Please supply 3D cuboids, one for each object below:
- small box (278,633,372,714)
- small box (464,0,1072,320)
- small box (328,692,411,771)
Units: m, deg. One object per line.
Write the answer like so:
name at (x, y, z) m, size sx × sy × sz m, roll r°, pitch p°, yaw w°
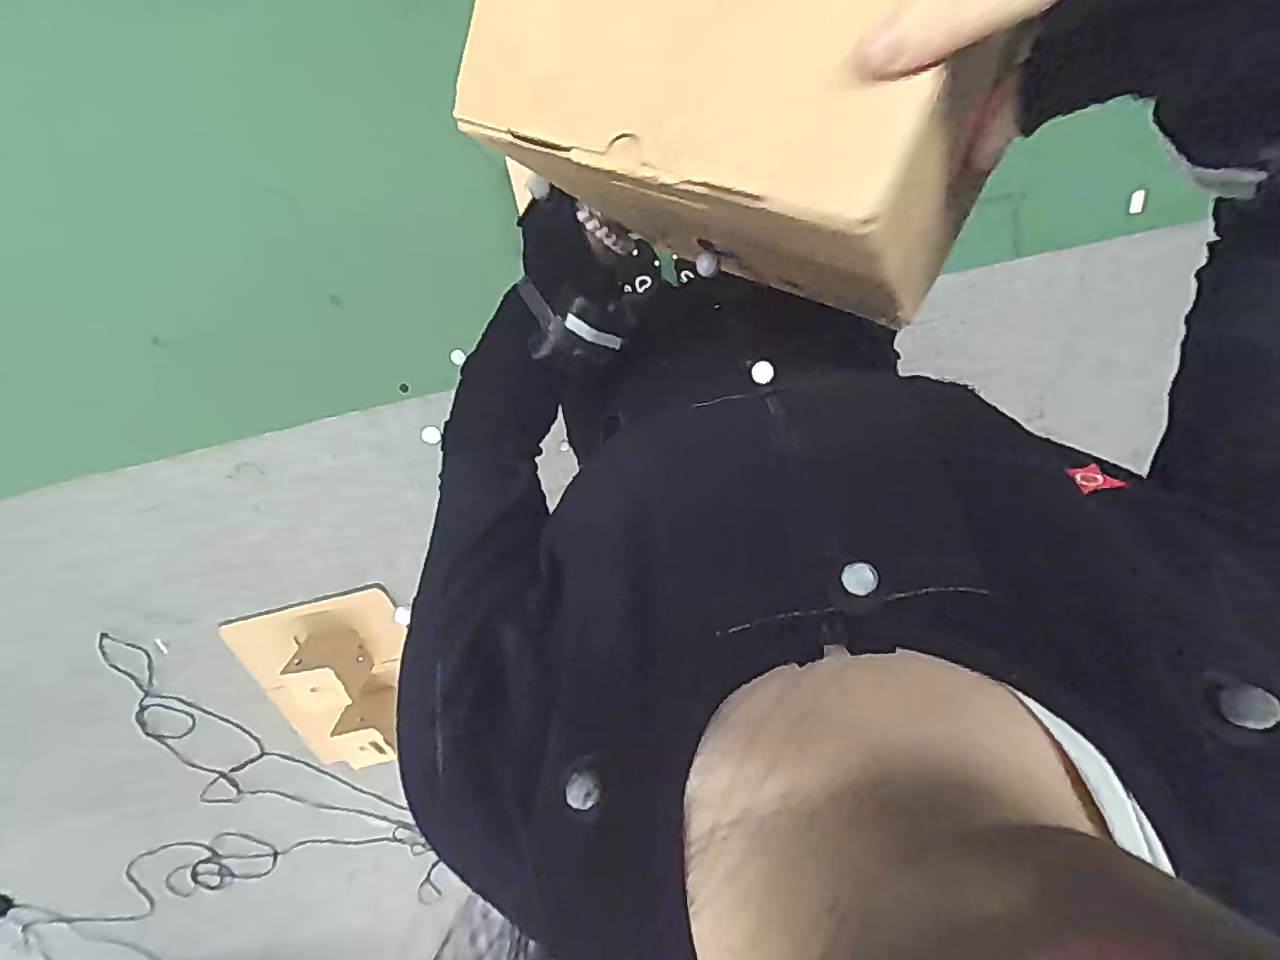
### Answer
small box at (-1.008, 0.621, 1.747) m, size 0.179 × 0.176 × 0.168 m, roll -11°, pitch 116°, yaw 4°
small box at (0.065, -0.186, 0.223) m, size 0.168 × 0.176 × 0.179 m, roll 31°, pitch 111°, yaw 24°
small box at (-0.917, 0.860, 1.860) m, size 0.179 × 0.176 × 0.168 m, roll -16°, pitch 115°, yaw 7°
